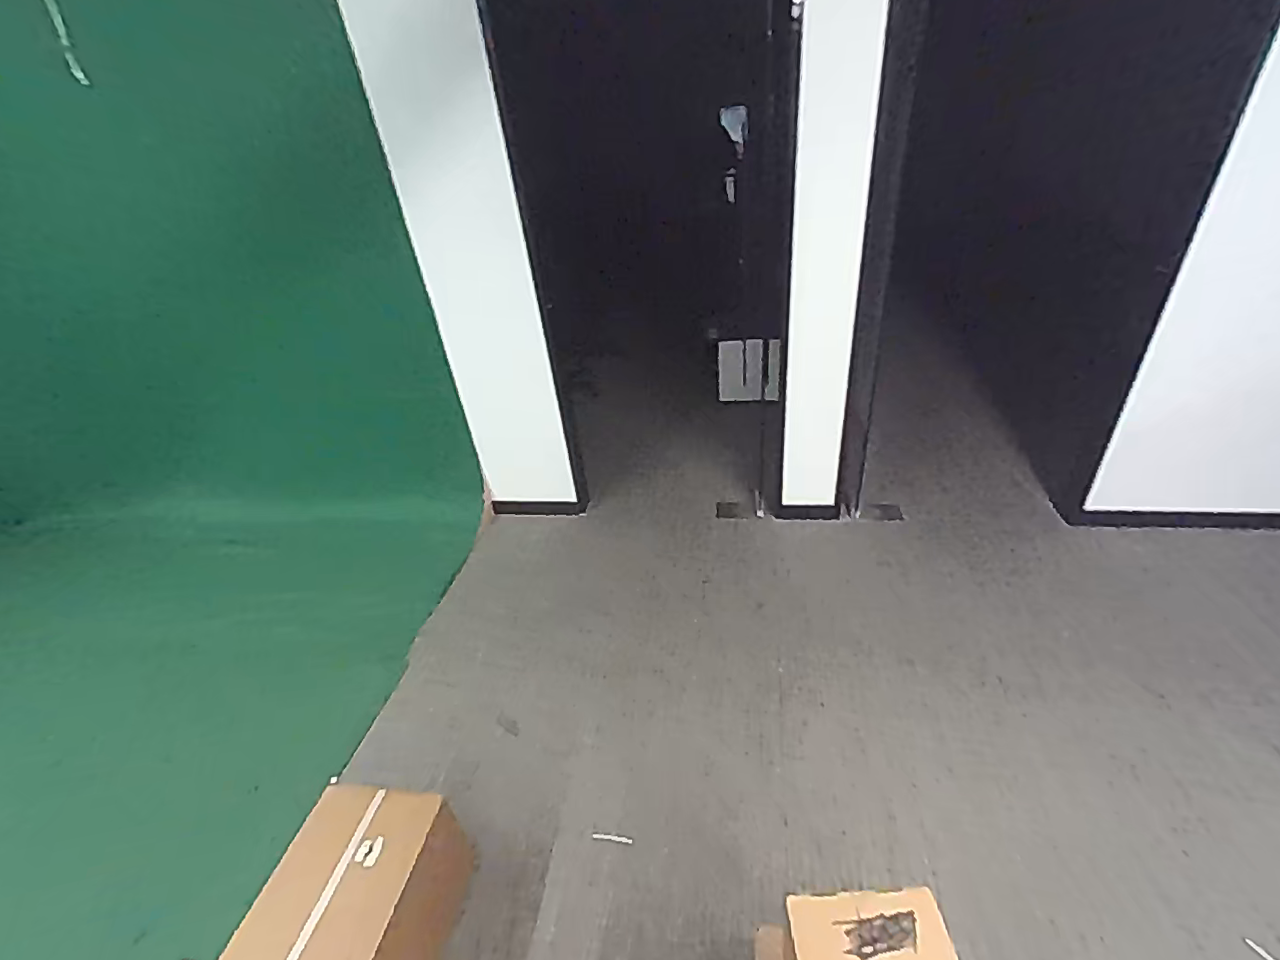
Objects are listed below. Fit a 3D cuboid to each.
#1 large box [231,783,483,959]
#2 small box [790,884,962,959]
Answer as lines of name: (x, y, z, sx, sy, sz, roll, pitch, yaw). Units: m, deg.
large box: (-0.608, 0.978, 1.221, 0.320, 0.320, 0.408, -1, 32, 11)
small box: (0.263, 0.582, 0.590, 0.168, 0.176, 0.179, -7, 33, 4)
